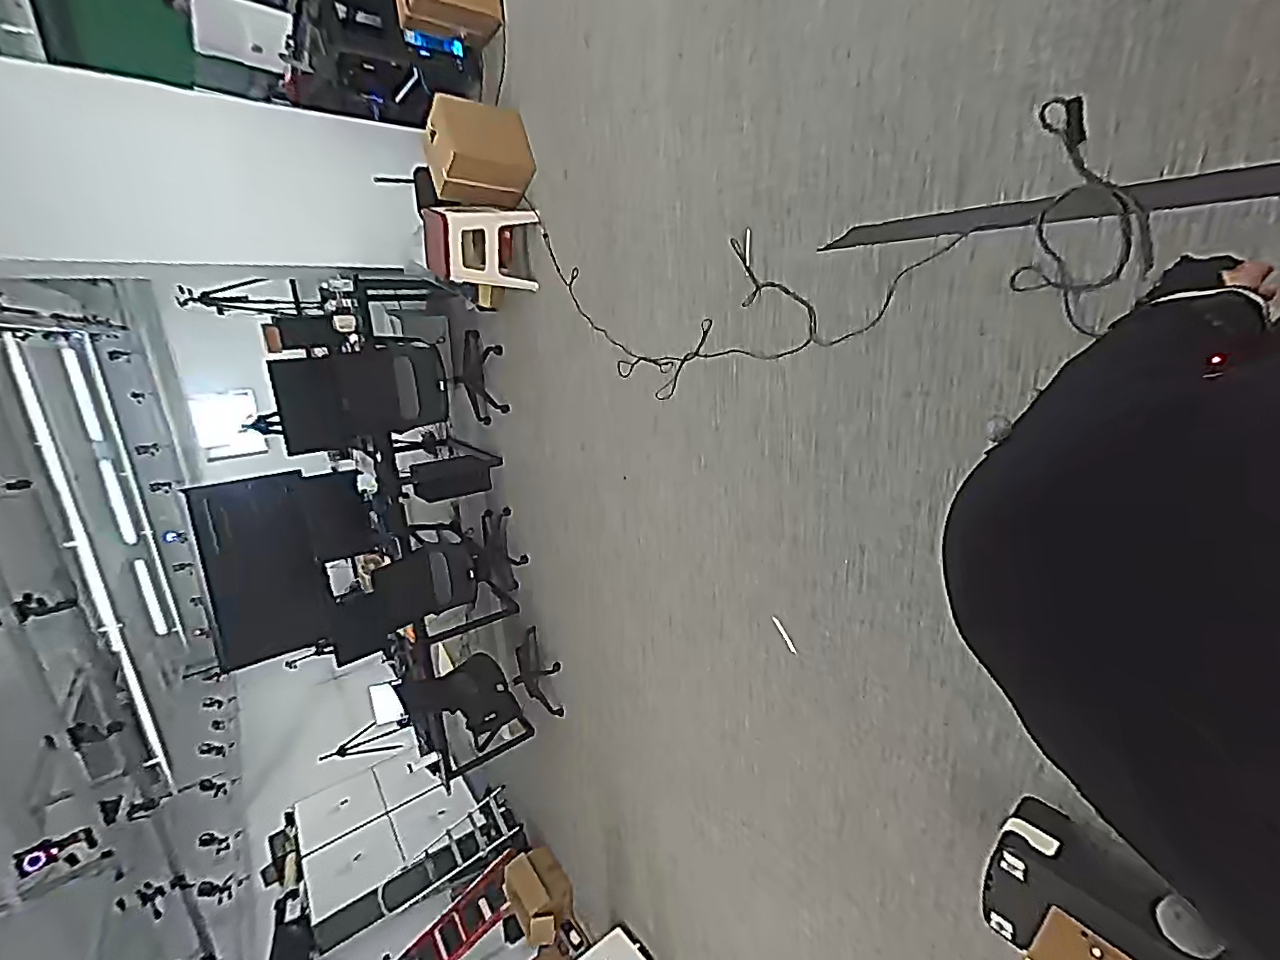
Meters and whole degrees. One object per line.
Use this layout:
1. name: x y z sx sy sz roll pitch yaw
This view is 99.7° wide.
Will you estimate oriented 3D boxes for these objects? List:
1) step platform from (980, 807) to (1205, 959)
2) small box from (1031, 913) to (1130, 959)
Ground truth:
1. step platform: 1.114 1.052 1.132 0.684 0.204 0.286 18 117 50
2. small box: 0.912 1.064 1.115 0.168 0.176 0.179 22 118 49
